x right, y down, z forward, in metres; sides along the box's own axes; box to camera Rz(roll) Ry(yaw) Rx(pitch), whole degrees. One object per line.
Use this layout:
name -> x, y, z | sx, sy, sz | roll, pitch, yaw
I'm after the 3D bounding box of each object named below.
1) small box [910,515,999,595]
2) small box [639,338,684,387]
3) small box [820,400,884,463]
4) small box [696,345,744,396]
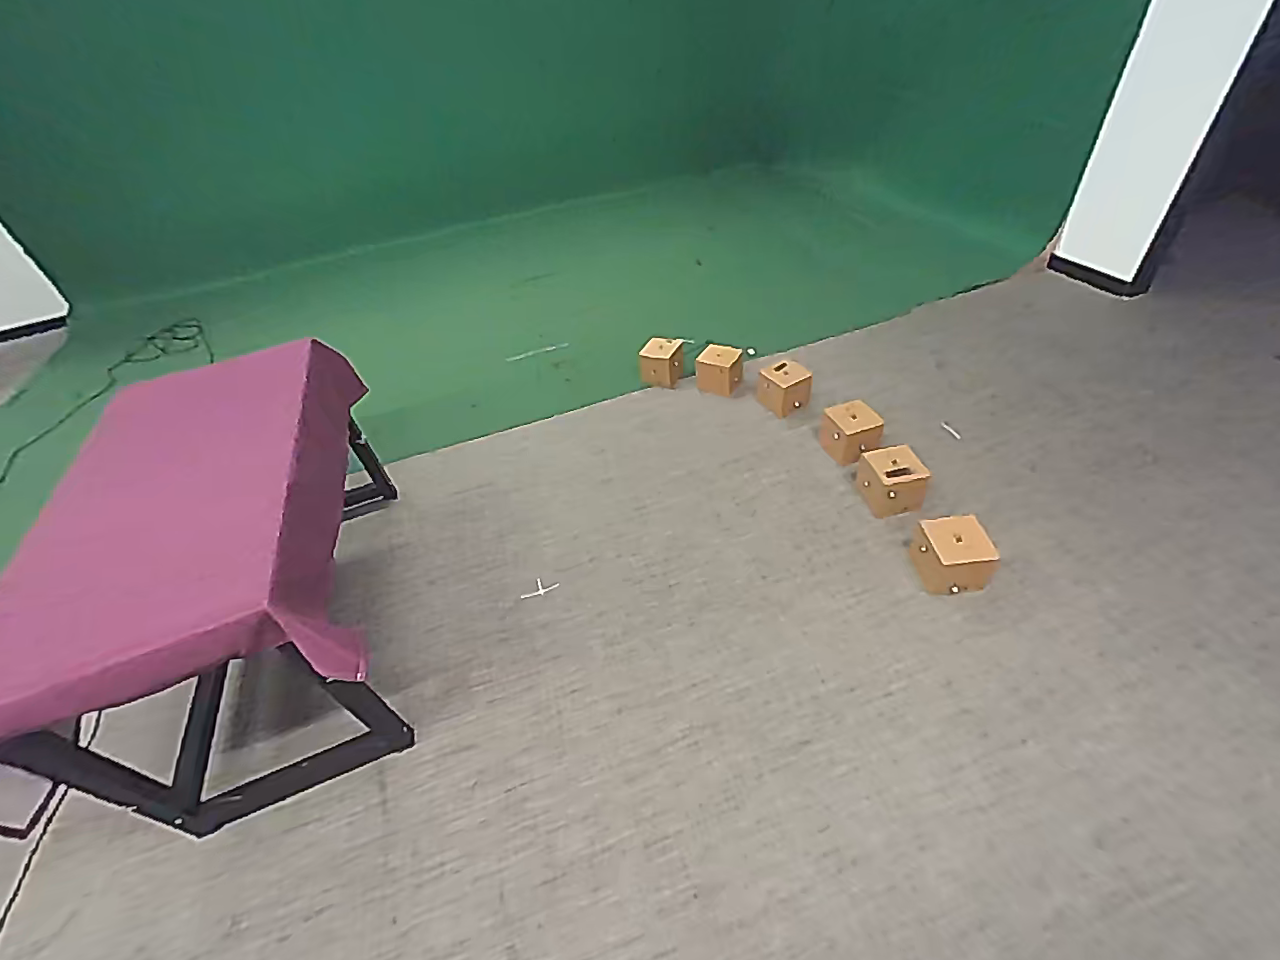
small box -> 0.965, 0.234, 1.679 | 0.168, 0.176, 0.179 | -7, 44, 4
small box -> 0.113, -0.583, 2.696 | 0.168, 0.176, 0.179 | 14, 49, 24
small box -> 0.835, -0.187, 2.143 | 0.168, 0.176, 0.179 | -16, 43, -8
small box -> 0.384, -0.522, 2.586 | 0.179, 0.176, 0.168 | 18, 49, 26
